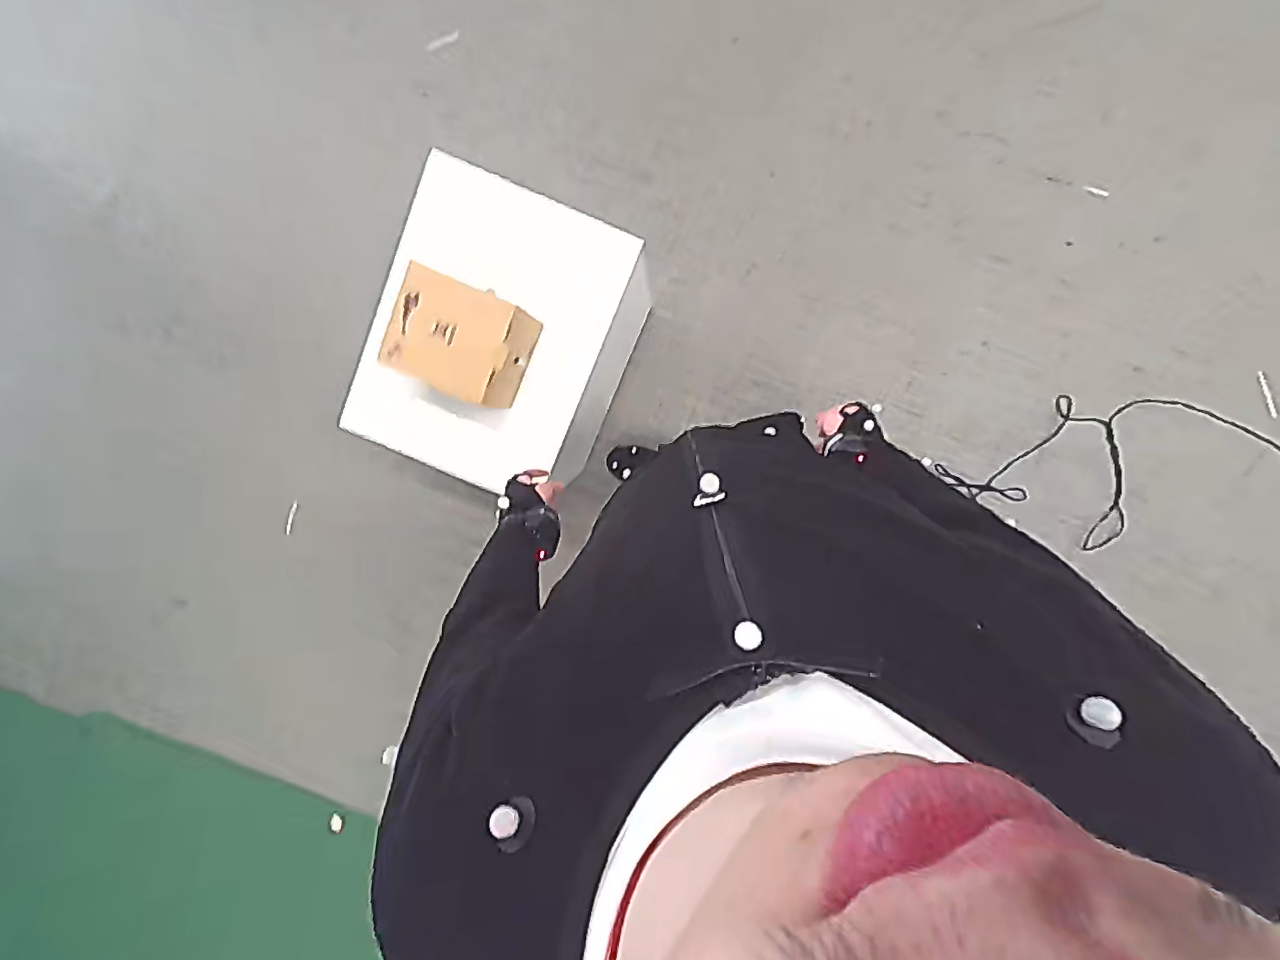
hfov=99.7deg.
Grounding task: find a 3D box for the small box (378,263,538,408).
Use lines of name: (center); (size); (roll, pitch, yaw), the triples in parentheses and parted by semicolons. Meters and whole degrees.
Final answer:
small box: (-0.284, -0.227, 0.882); (0.179, 0.176, 0.168); (21, 99, 0)
